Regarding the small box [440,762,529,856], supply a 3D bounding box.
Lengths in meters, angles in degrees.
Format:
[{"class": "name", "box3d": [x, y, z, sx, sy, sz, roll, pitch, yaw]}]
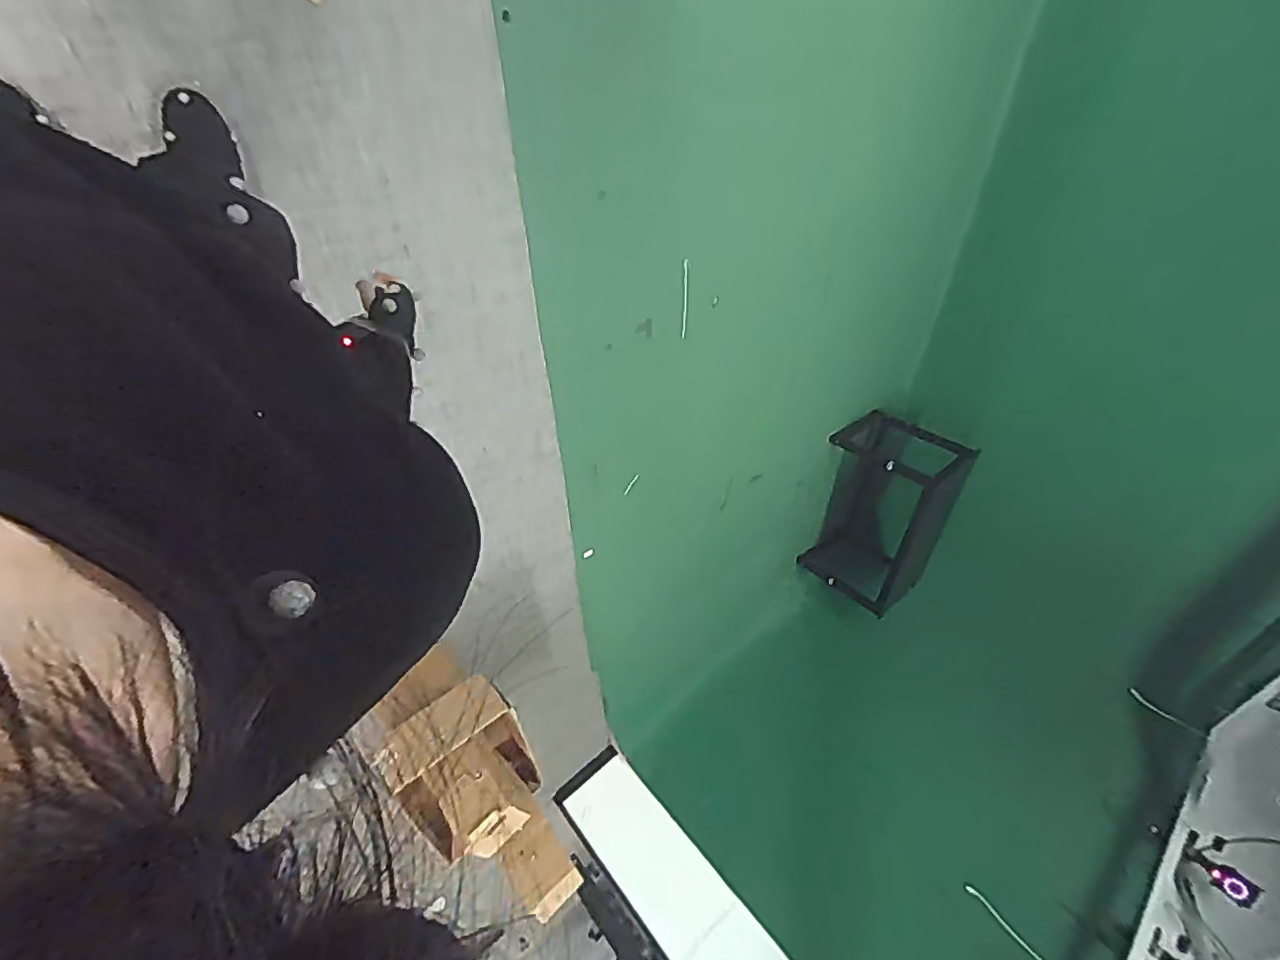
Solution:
[{"class": "small box", "box3d": [-0.473, 0.992, 1.640, 0.168, 0.176, 0.179, -39, 141, -18]}]

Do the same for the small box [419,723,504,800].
[{"class": "small box", "box3d": [-0.578, 0.919, 1.742, 0.168, 0.176, 0.179, -40, 141, -19]}]

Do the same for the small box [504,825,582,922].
[{"class": "small box", "box3d": [-0.313, 1.259, 1.738, 0.168, 0.176, 0.179, -34, 137, -28]}]

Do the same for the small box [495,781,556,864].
[{"class": "small box", "box3d": [-0.417, 1.174, 1.834, 0.179, 0.176, 0.168, -35, 138, -26]}]
